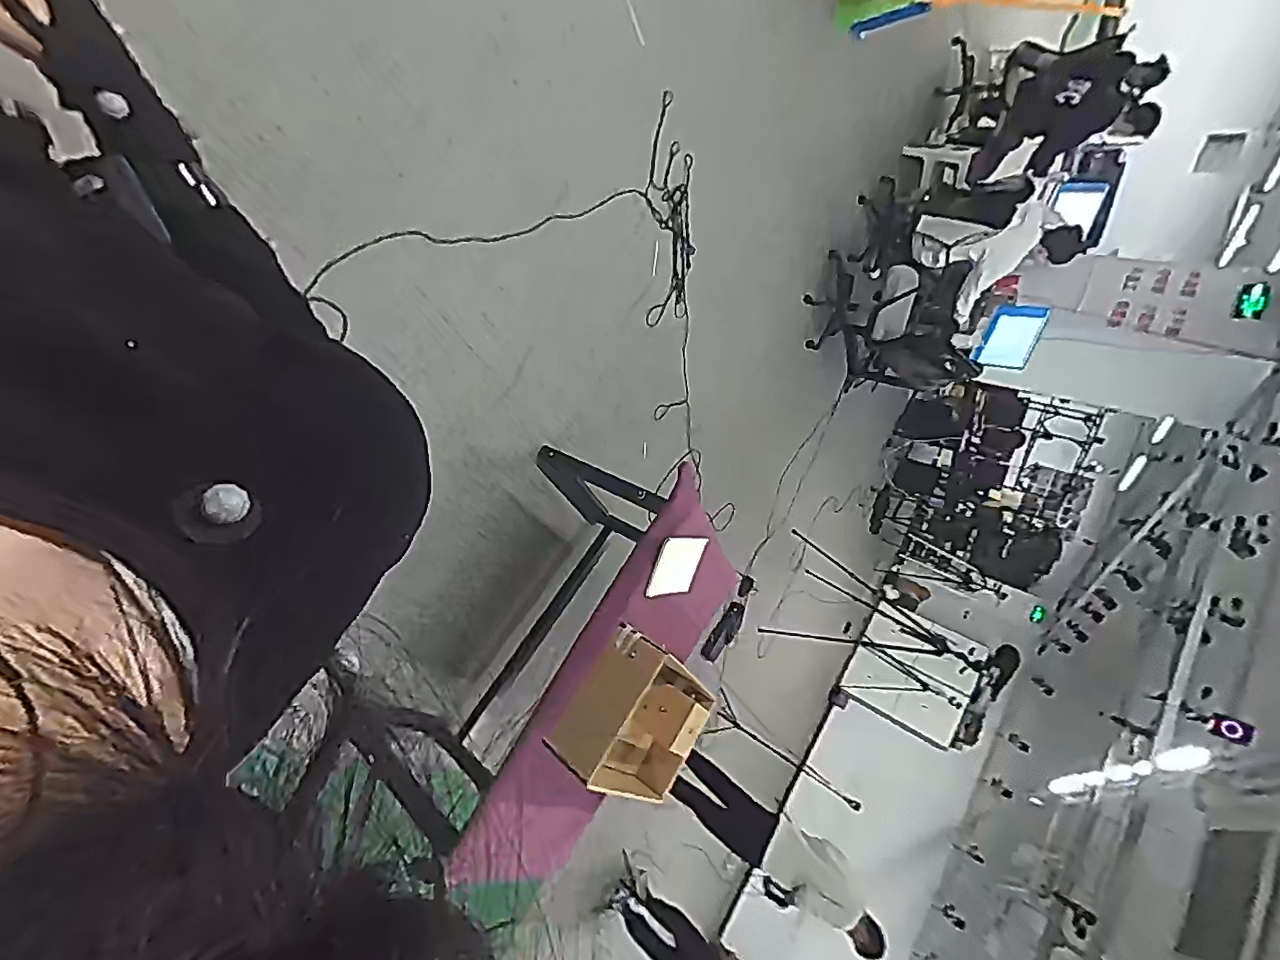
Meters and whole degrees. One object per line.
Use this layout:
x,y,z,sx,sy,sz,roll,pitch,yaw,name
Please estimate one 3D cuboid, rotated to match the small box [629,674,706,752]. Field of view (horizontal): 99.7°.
0.091,0.776,1.810,0.168,0.176,0.179,-54,143,-17,small box
